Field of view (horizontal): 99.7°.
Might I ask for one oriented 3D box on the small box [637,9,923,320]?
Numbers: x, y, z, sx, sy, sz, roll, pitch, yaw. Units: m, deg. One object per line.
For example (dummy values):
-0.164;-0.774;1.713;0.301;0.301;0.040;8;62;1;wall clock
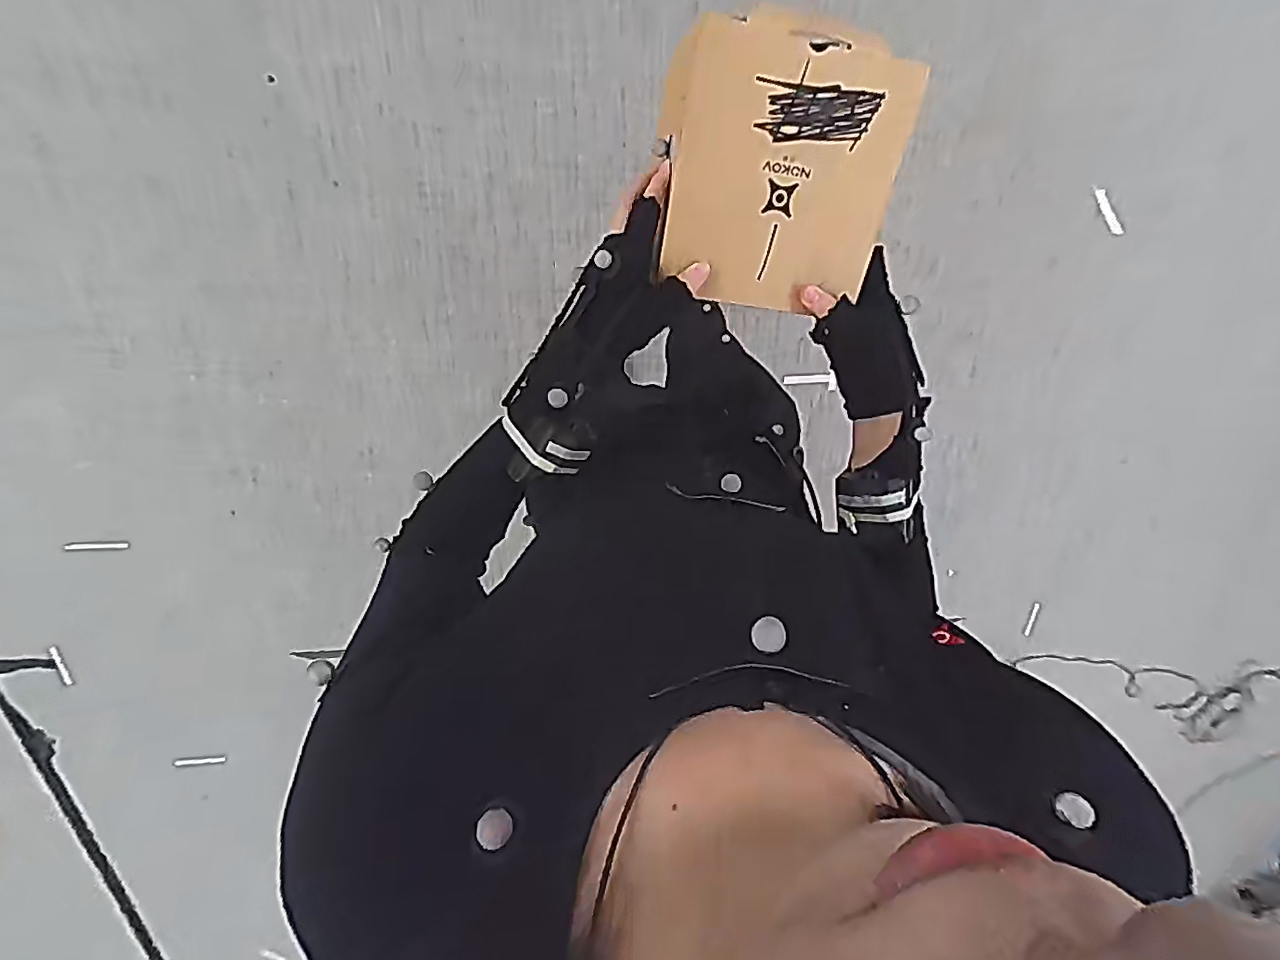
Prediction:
0.095;-0.254;0.466;0.168;0.176;0.179;6;117;-9;small box
